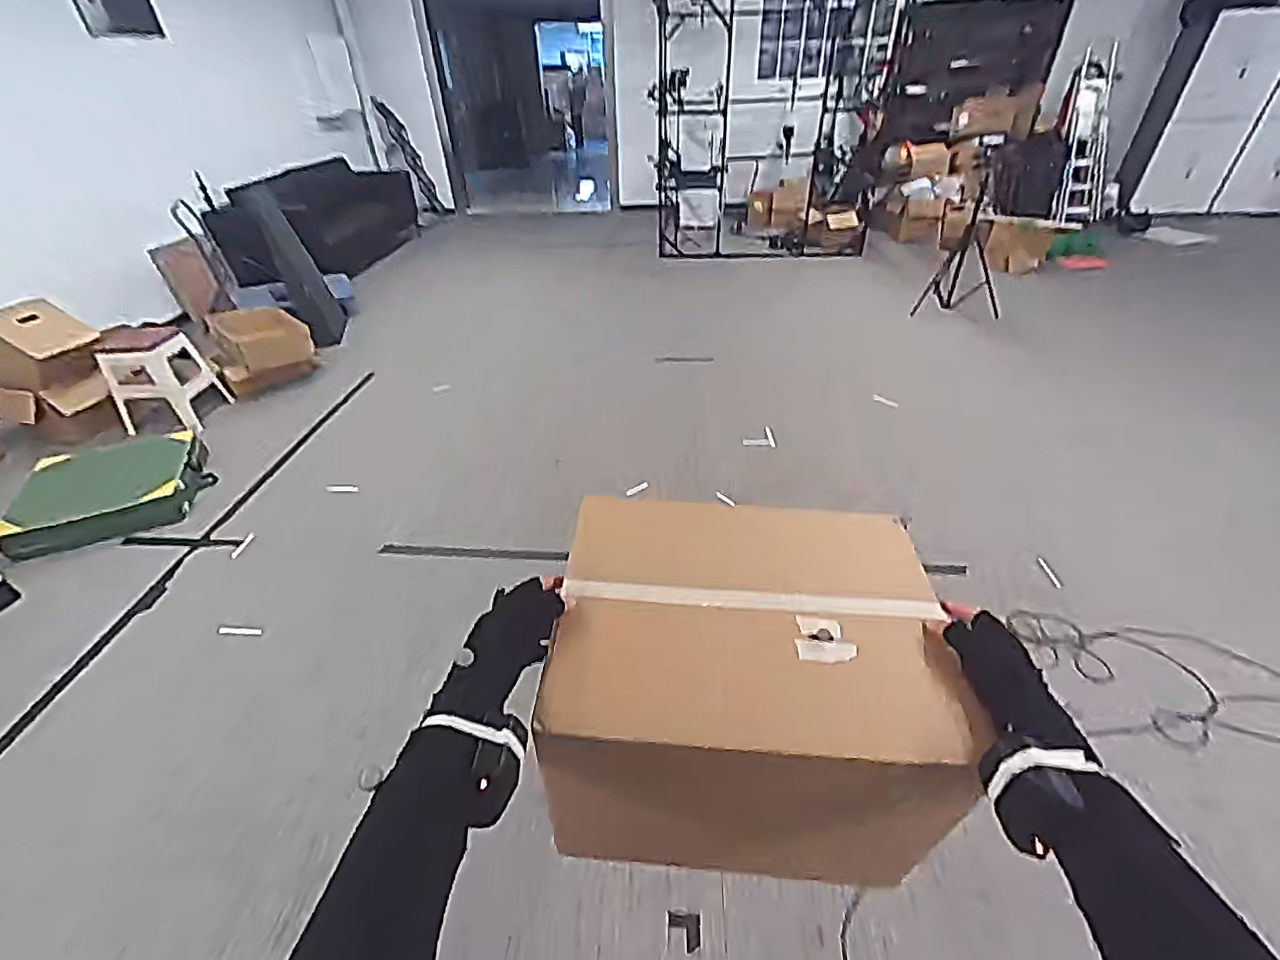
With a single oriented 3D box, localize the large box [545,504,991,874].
[{"bbox_3d":[0.114,0.254,0.681,0.408,0.320,0.320,4,39,2],"label":"large box"}]
